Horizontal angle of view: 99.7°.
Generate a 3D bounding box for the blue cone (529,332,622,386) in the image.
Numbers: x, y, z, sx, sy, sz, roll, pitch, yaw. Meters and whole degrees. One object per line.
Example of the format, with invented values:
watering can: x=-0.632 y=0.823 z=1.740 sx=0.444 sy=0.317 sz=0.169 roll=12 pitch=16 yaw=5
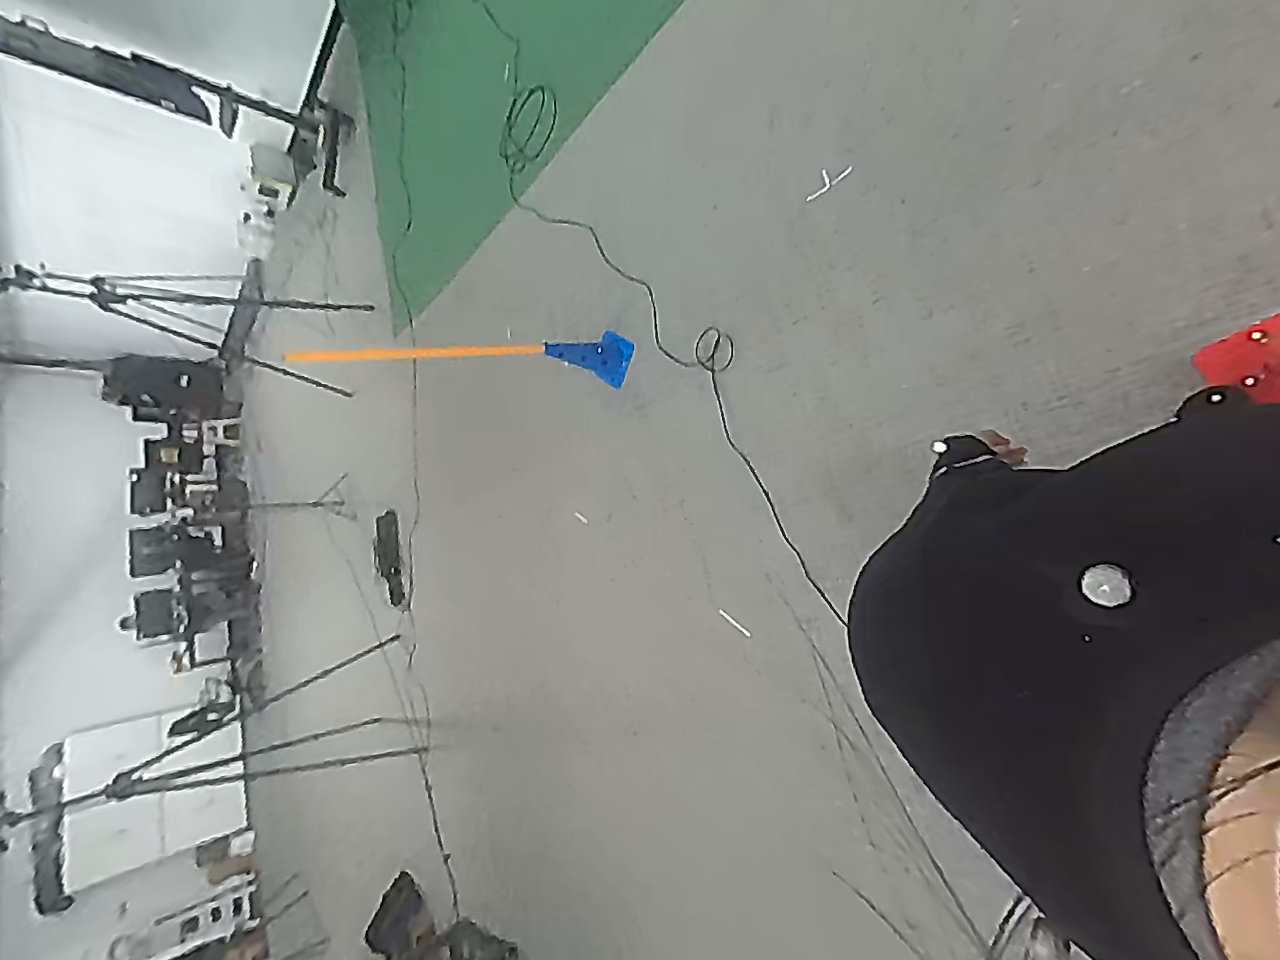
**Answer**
blue cone: x=-0.266 y=-0.492 z=2.119 sx=0.192 sy=0.380 sz=0.193 roll=36 pitch=117 yaw=36
